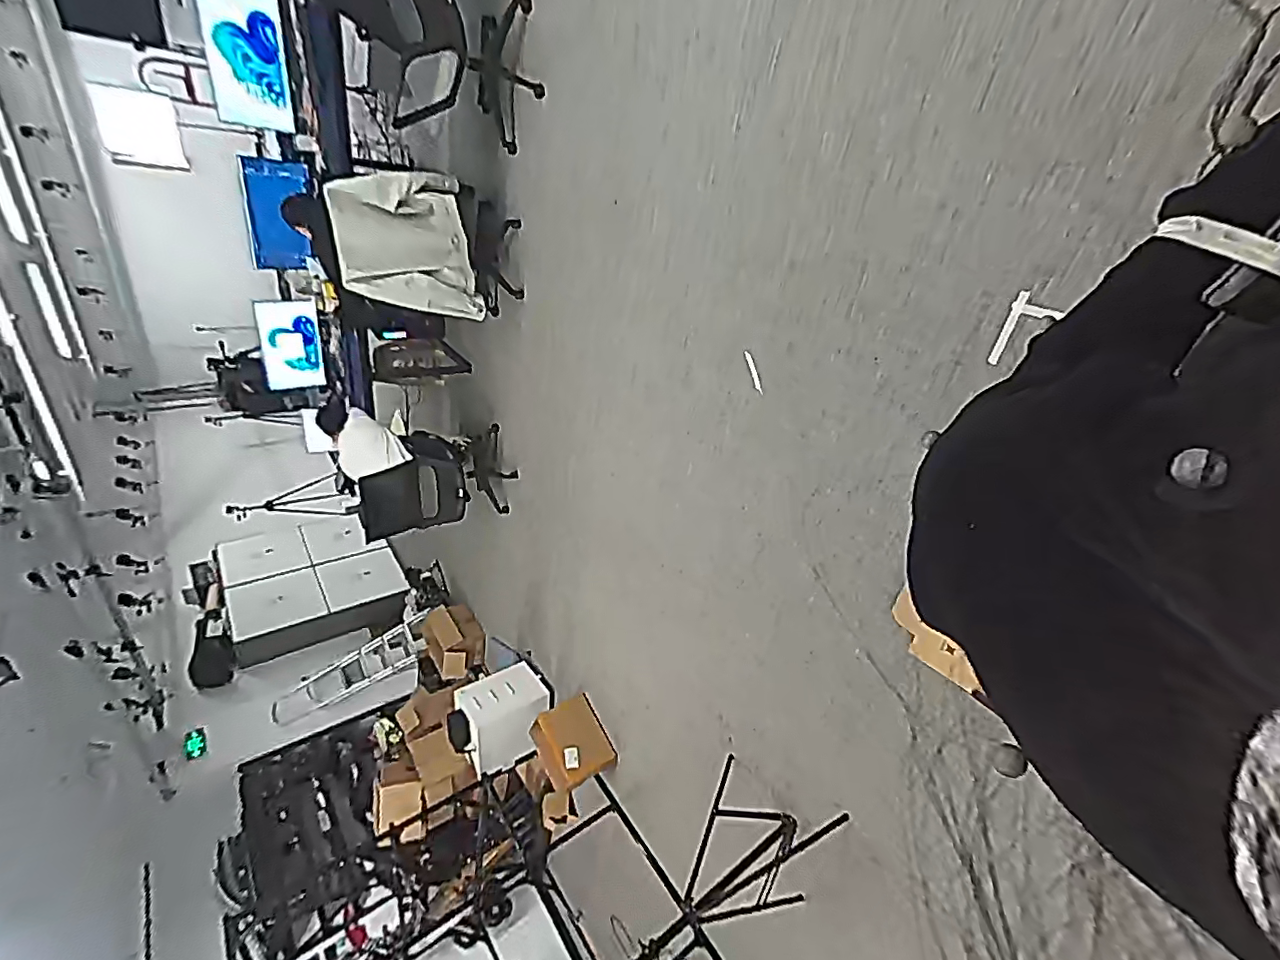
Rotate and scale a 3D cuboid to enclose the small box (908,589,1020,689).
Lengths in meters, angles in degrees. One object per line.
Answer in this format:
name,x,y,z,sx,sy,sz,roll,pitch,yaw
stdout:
small box,0.859,0.411,1.439,0.179,0.176,0.168,34,129,42
